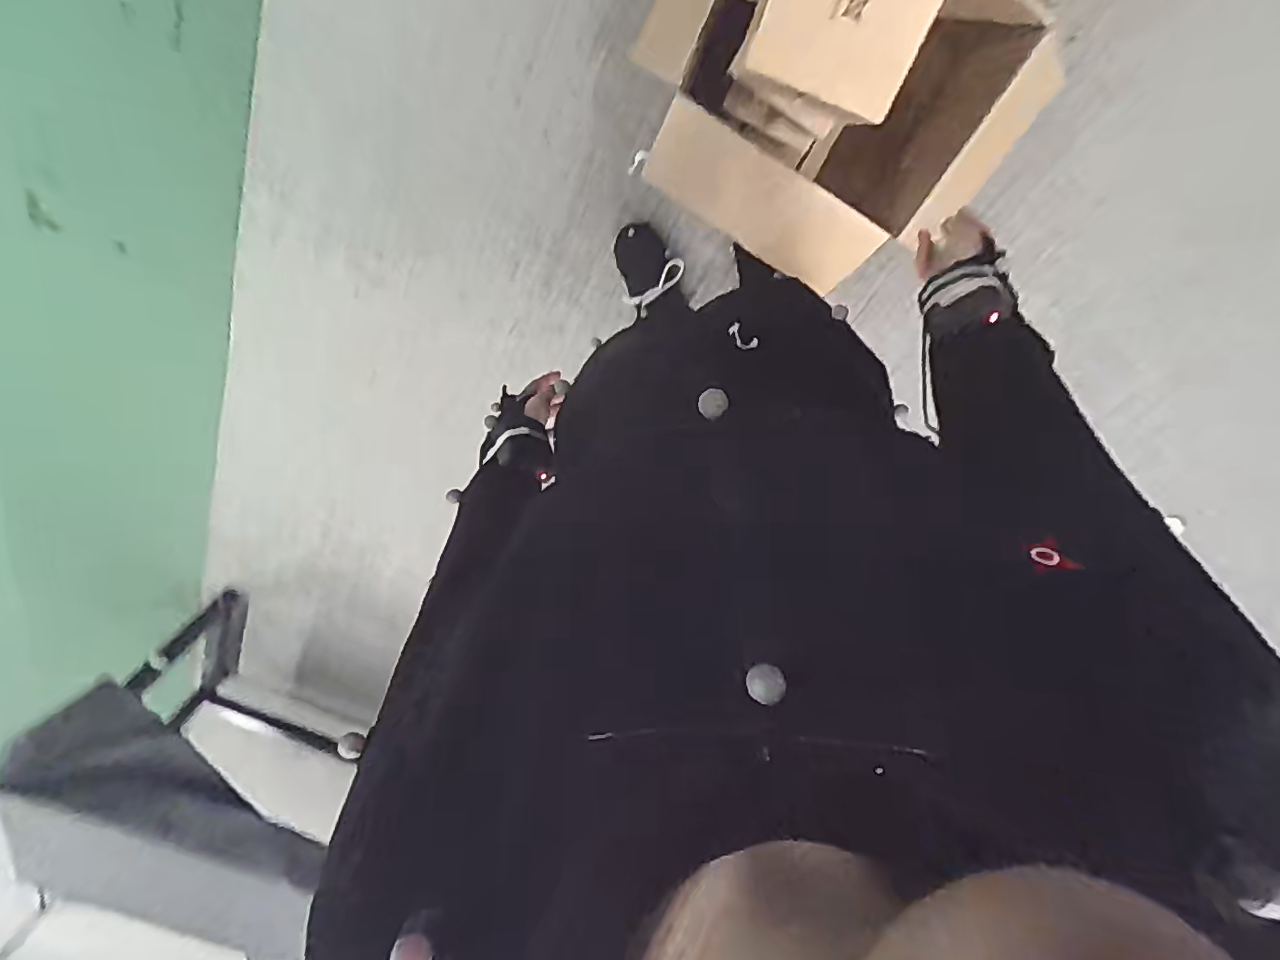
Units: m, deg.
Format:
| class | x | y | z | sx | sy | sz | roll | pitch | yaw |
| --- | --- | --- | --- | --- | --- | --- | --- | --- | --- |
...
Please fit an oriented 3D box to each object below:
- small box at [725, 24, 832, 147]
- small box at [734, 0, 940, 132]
| class | x | y | z | sx | sy | sz | roll | pitch | yaw |
| --- | --- | --- | --- | --- | --- | --- | --- | --- | --- |
| small box | 0.235 | -0.621 | 0.784 | 0.168 | 0.176 | 0.179 | 29 | 122 | -13 |
| small box | 0.225 | -0.540 | 0.643 | 0.179 | 0.176 | 0.168 | 18 | 123 | -6 |
